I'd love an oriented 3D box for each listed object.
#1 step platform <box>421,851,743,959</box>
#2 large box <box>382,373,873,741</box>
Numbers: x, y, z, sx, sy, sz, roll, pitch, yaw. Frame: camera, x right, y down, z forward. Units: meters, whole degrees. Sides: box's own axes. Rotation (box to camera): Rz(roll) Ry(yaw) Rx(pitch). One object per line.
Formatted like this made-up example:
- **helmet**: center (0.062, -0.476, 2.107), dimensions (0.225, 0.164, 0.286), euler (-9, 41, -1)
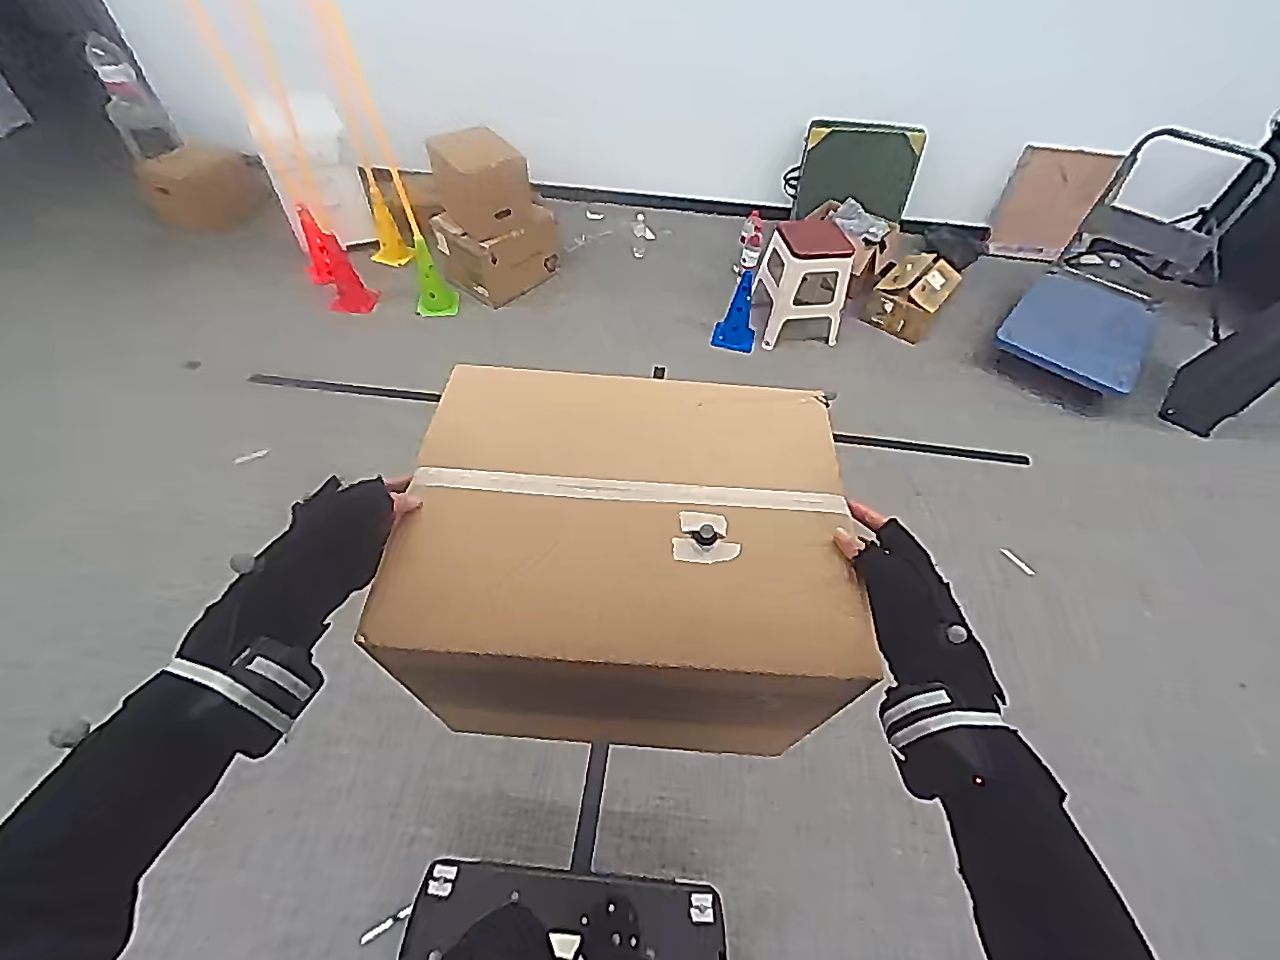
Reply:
- **step platform**: center (-0.120, 1.014, 1.186), dimensions (0.684, 0.204, 0.286), euler (5, 52, 0)
- **large box**: center (-0.013, 0.103, 0.636), dimensions (0.408, 0.320, 0.320), euler (4, 54, -1)
